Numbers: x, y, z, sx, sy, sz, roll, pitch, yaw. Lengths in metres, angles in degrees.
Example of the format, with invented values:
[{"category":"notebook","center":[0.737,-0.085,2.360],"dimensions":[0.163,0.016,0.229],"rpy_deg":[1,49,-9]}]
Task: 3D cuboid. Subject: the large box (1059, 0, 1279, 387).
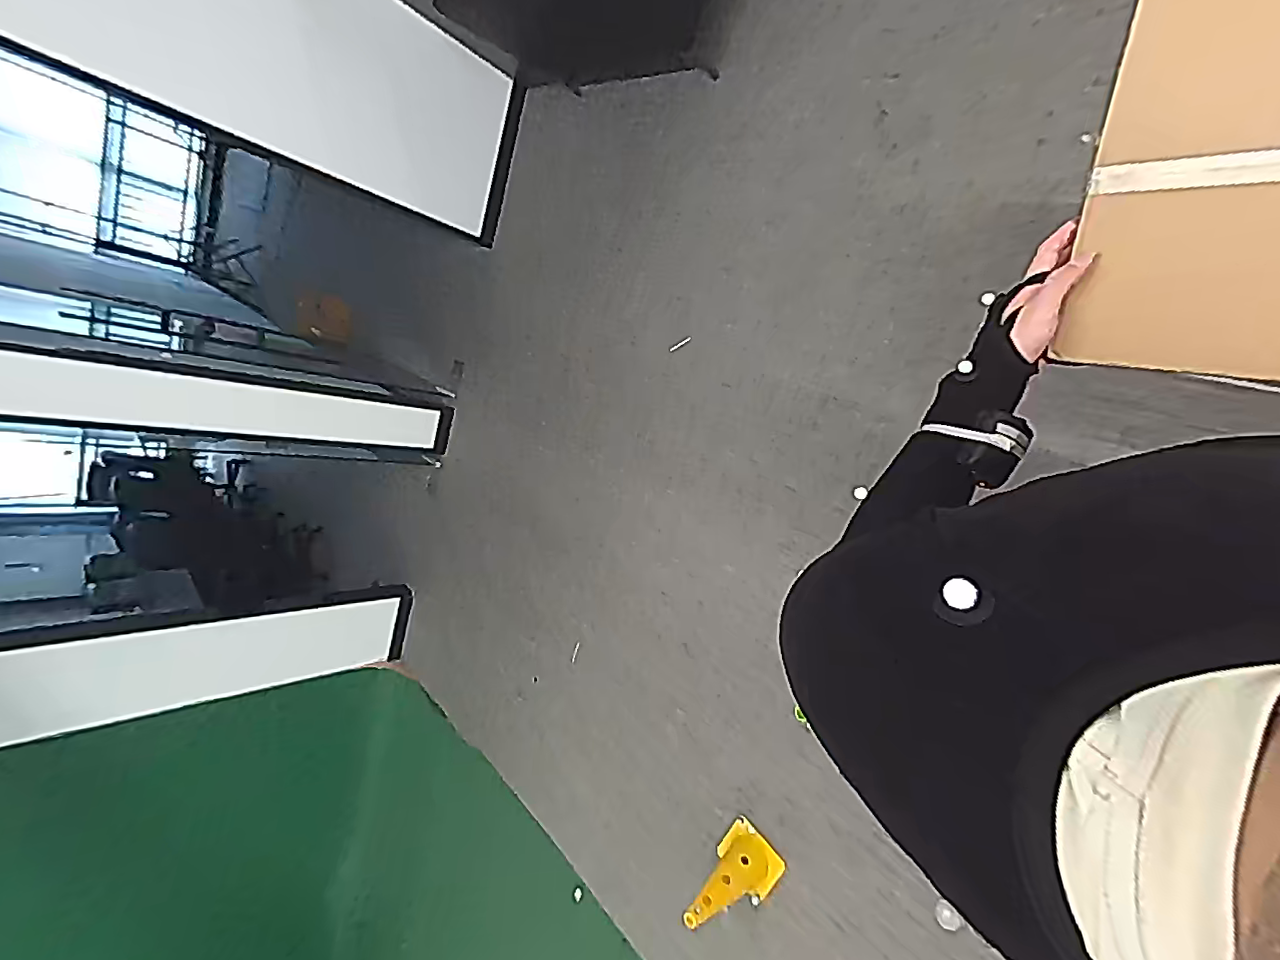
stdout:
[{"category":"large box","center":[0.654,-0.248,0.454],"dimensions":[0.408,0.320,0.320],"rpy_deg":[18,118,41]}]
